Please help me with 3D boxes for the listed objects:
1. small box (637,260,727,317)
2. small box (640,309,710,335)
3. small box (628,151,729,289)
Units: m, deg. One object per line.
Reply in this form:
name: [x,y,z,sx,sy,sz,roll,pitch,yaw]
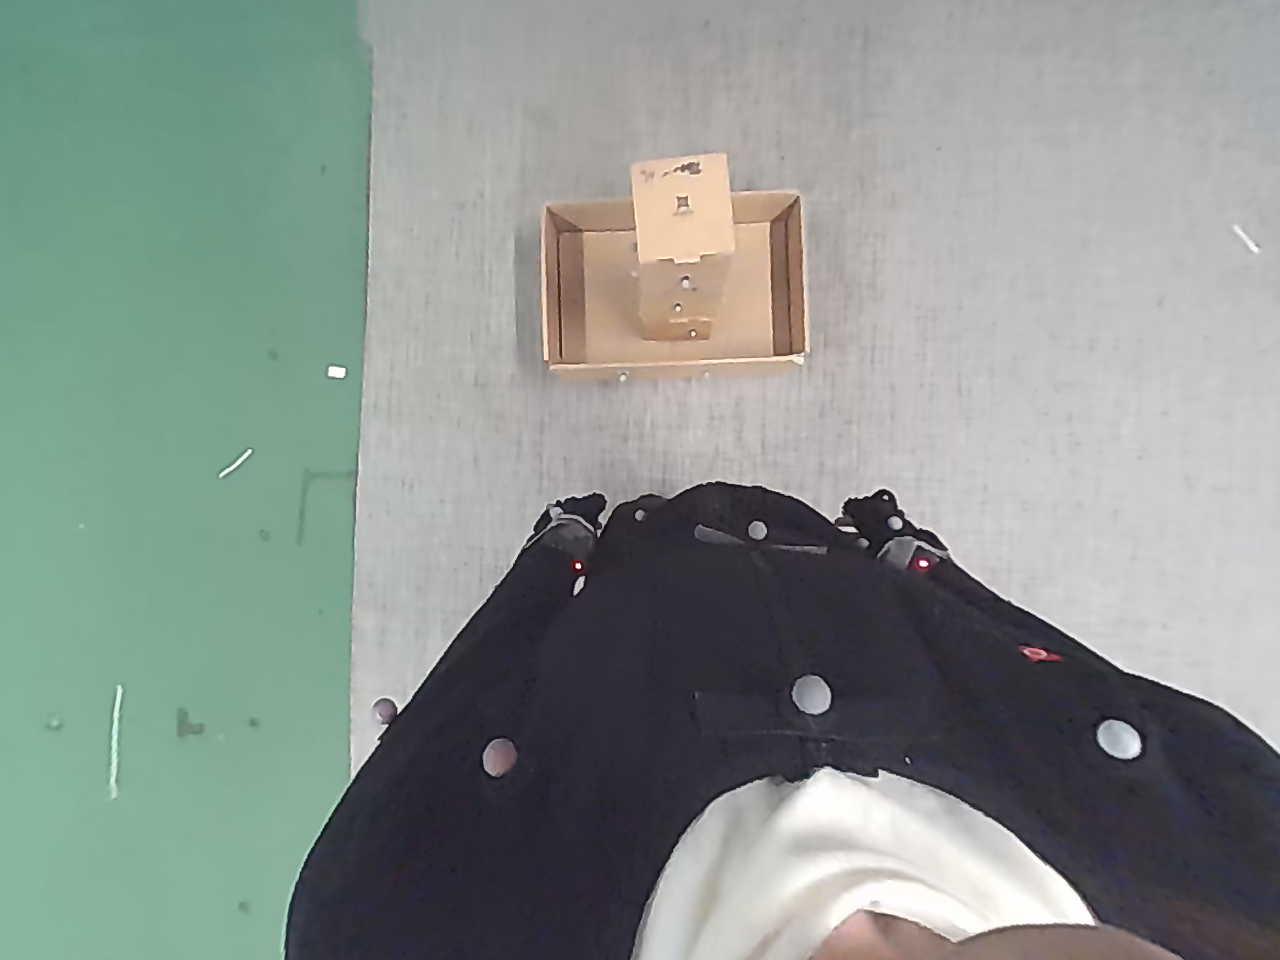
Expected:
small box: [0.082,-0.460,1.158,0.179,0.176,0.168,-5,90,1]
small box: [0.086,-0.461,1.322,0.168,0.176,0.179,0,88,2]
small box: [0.070,-0.464,0.995,0.168,0.176,0.179,-4,90,3]
